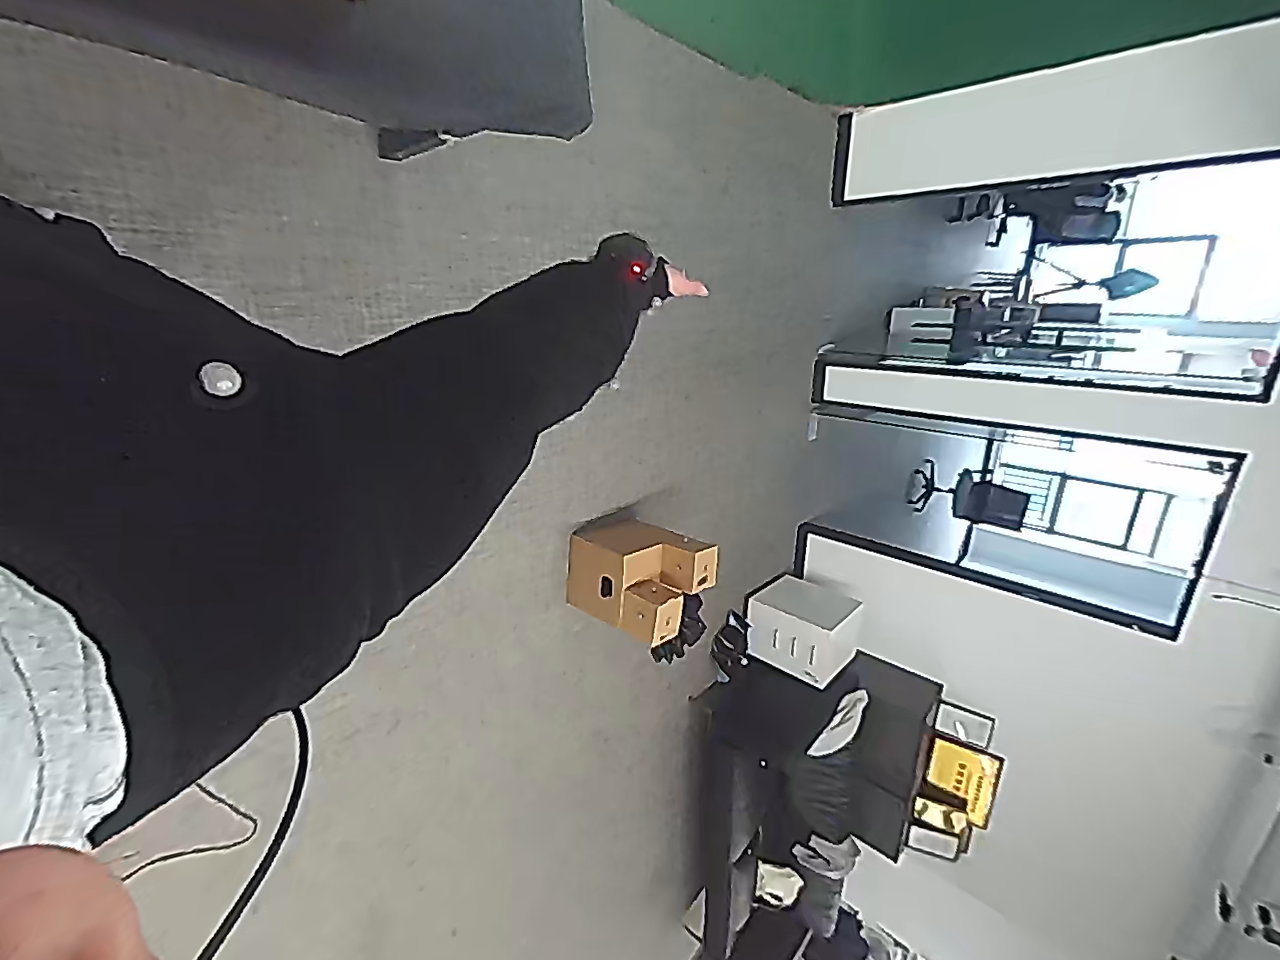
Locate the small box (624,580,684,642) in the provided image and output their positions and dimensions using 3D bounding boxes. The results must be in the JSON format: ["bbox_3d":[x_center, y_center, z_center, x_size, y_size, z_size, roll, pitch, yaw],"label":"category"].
[{"bbox_3d":[0.052,0.504,2.119,0.168,0.176,0.179,-10,111,-49],"label":"small box"}]

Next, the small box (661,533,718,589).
[{"bbox_3d":[0.203,0.332,2.248,0.168,0.176,0.179,-10,106,-49],"label":"small box"}]
